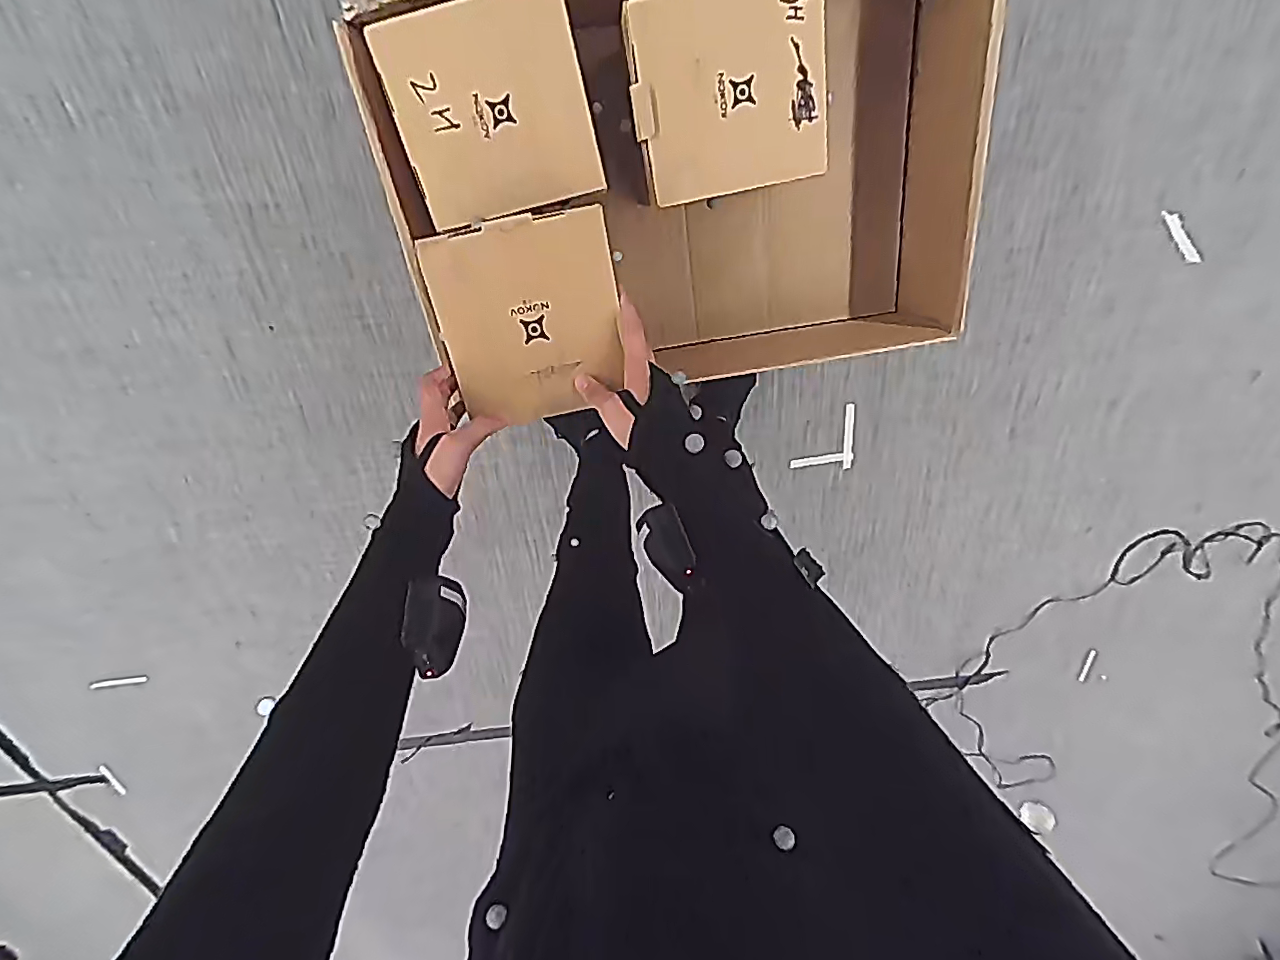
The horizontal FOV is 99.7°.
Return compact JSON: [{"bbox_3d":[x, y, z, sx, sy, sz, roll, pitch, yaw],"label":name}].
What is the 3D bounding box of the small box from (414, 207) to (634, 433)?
[{"bbox_3d":[-0.108,-0.167,0.566,0.168,0.176,0.179,-12,112,-1],"label":"small box"}]
